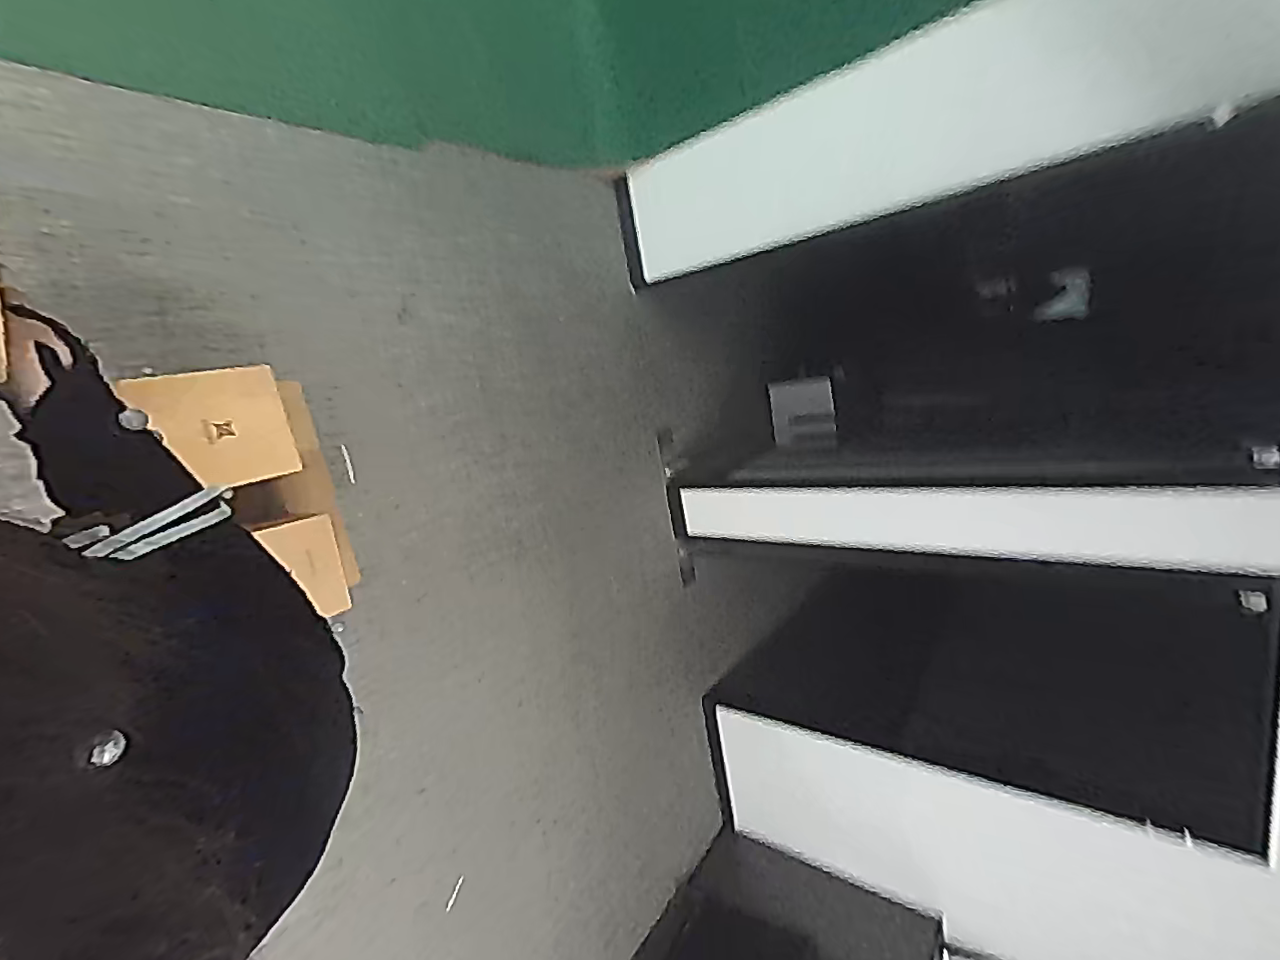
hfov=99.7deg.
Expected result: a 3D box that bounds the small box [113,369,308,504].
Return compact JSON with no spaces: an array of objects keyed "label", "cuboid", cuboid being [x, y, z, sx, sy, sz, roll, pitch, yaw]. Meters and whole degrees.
[{"label":"small box","cuboid":[-0.648,-0.071,0.821,0.179,0.176,0.168,-24,110,-47]}]

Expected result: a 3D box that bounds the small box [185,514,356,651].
[{"label":"small box","cuboid":[-0.601,0.154,0.876,0.179,0.176,0.168,-19,104,-51]}]
